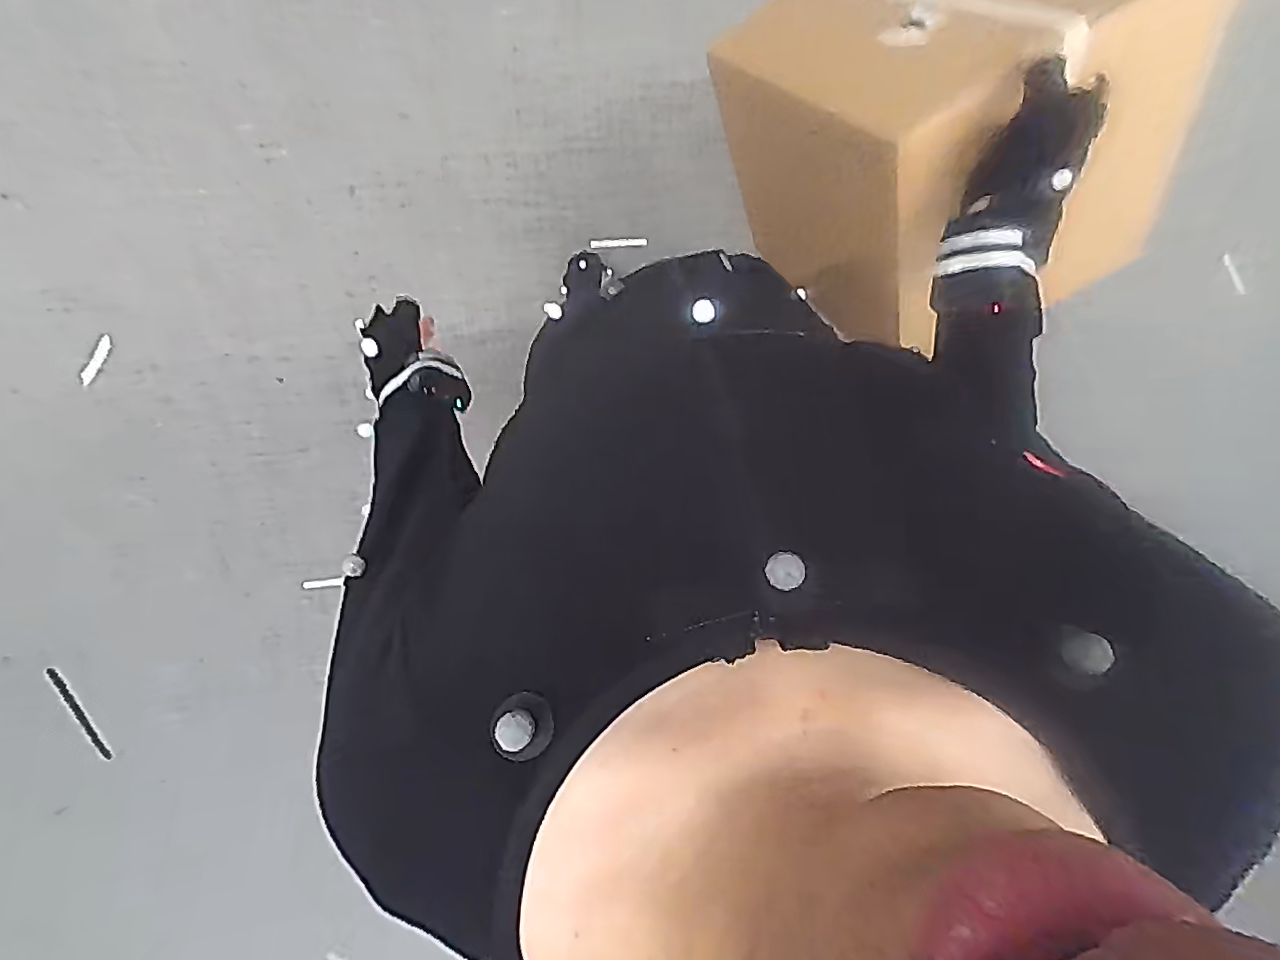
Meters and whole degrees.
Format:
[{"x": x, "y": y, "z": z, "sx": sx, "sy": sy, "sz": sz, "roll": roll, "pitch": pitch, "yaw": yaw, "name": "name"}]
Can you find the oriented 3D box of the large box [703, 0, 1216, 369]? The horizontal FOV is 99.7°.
[{"x": 0.330, "y": -0.421, "z": 0.674, "sx": 0.320, "sy": 0.408, "sz": 0.320, "roll": -30, "pitch": 141, "yaw": 6, "name": "large box"}]
